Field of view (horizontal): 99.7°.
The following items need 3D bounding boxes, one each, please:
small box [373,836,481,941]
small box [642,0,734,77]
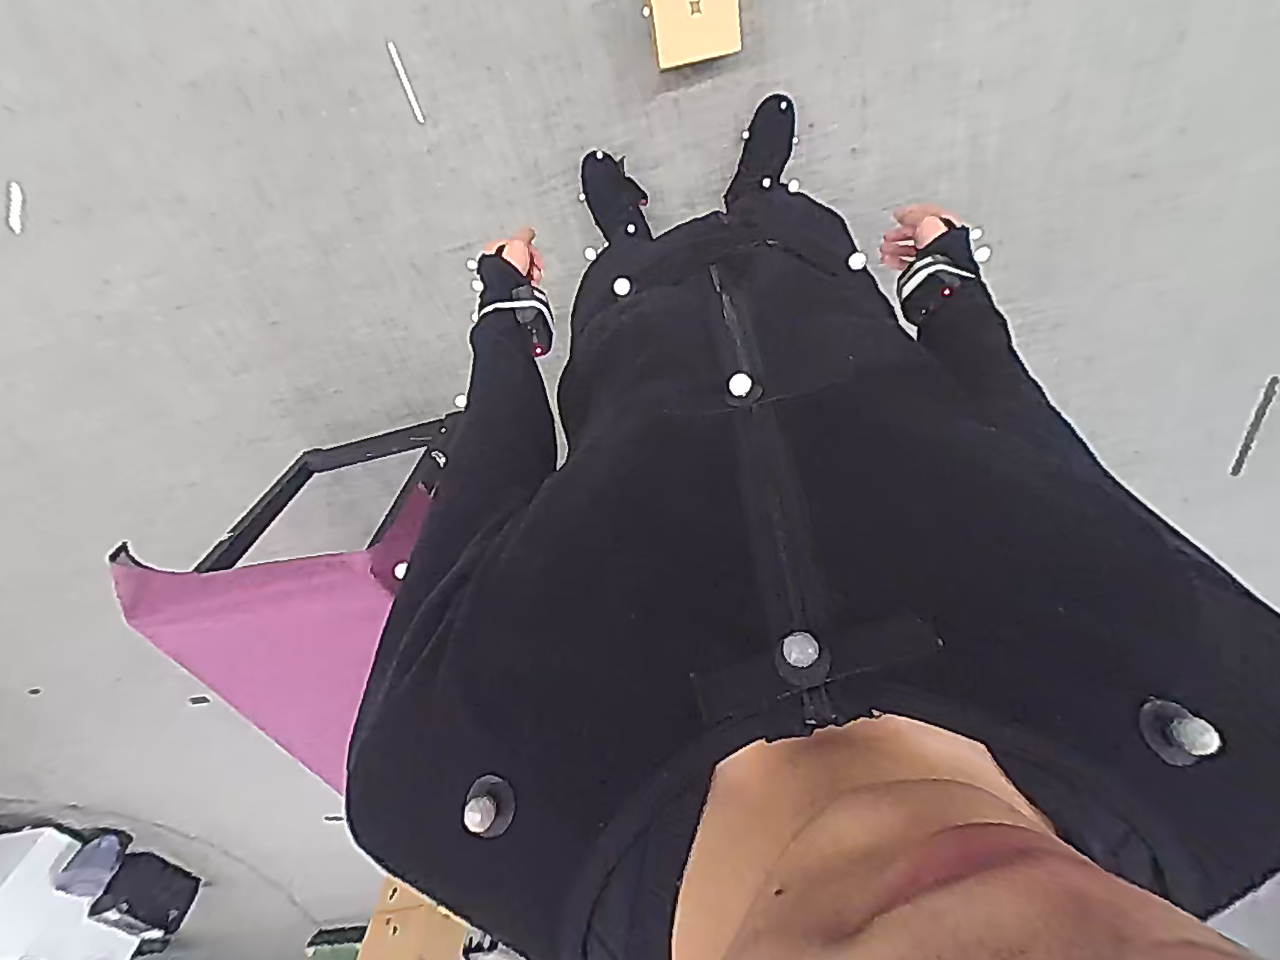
[{"bbox_3d":[-0.545,1.063,1.410,0.179,0.176,0.168,-22,123,14],"label":"small box"},{"bbox_3d":[0.095,-0.948,1.107,0.168,0.176,0.179,-9,124,5],"label":"small box"}]
